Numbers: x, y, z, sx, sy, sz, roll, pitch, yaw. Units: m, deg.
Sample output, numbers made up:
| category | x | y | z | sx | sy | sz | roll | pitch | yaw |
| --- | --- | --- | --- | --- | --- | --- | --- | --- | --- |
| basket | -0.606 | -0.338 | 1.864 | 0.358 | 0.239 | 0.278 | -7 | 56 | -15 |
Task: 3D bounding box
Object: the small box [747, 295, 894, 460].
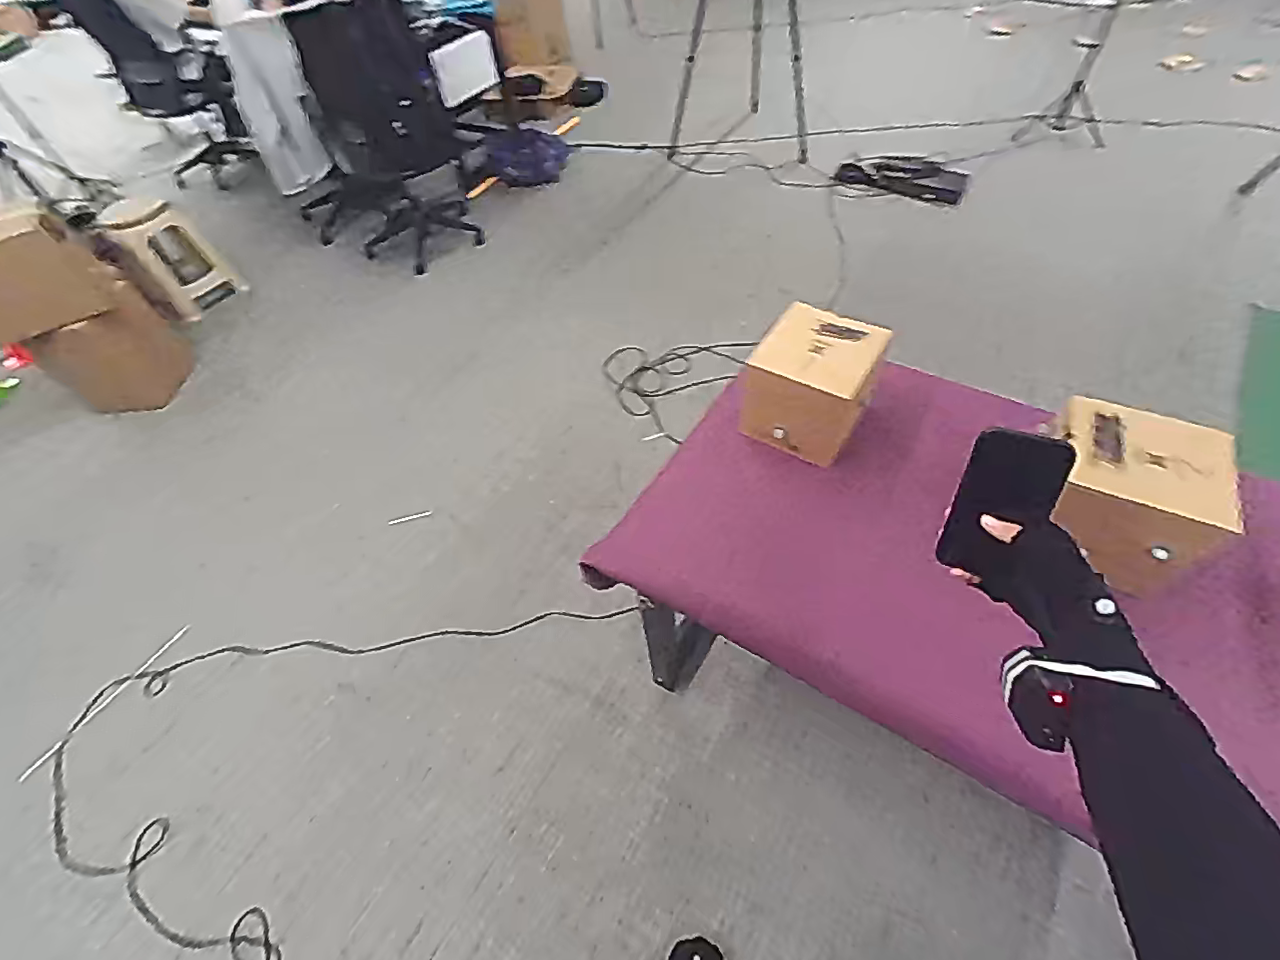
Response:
| category | x | y | z | sx | sy | sz | roll | pitch | yaw |
| --- | --- | --- | --- | --- | --- | --- | --- | --- | --- |
| small box | 0.287 | -0.167 | 0.894 | 0.168 | 0.176 | 0.179 | 27 | 62 | 23 |
